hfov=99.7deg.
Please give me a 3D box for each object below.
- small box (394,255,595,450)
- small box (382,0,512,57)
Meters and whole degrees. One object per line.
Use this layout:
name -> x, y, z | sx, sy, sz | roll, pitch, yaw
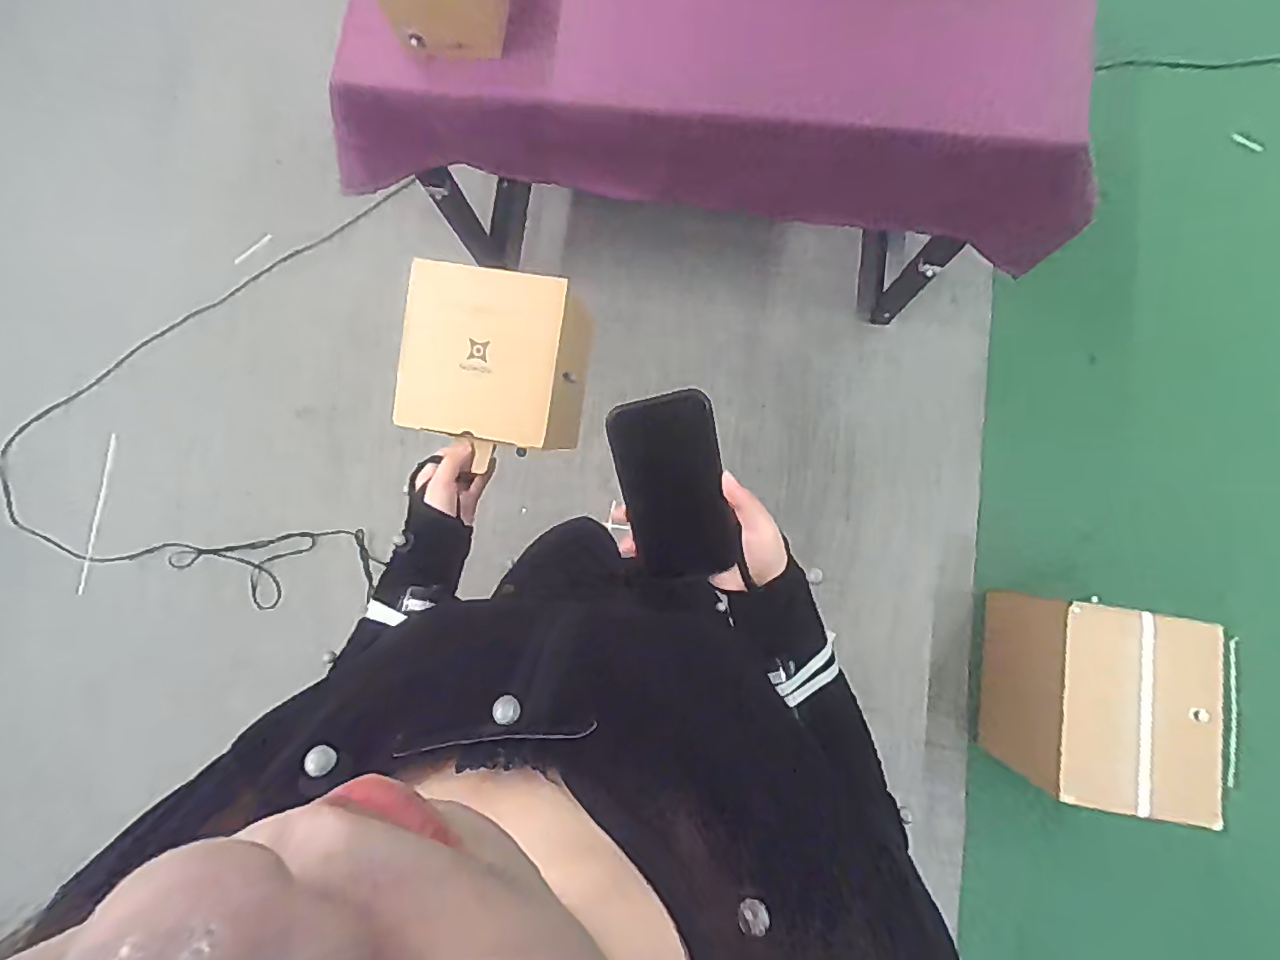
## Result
small box -> -0.156, -0.136, 0.630 | 0.168, 0.176, 0.179 | 10, 95, 4
small box -> -0.299, -0.791, 0.821 | 0.168, 0.176, 0.179 | 6, 82, 3
